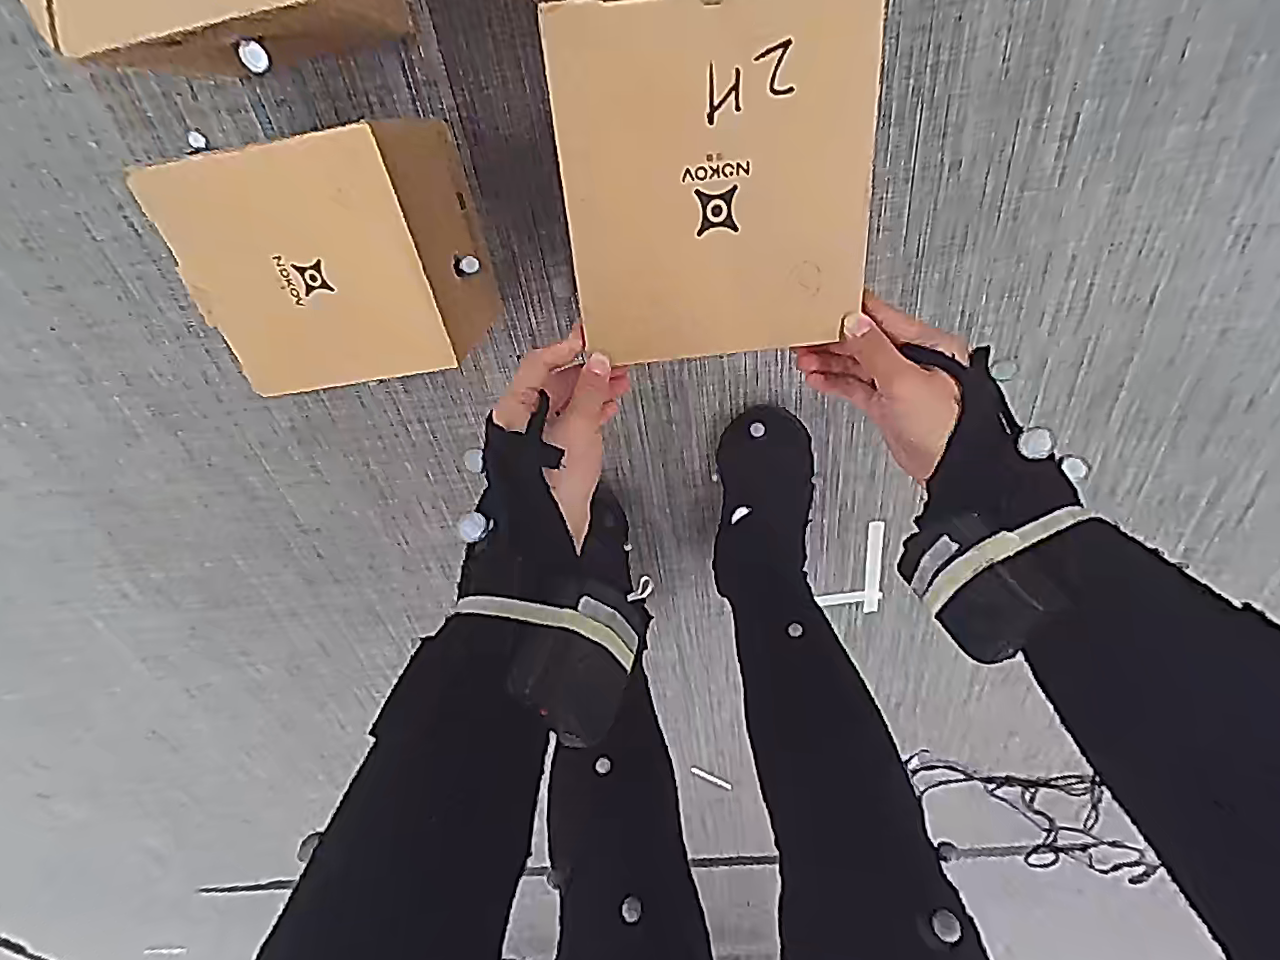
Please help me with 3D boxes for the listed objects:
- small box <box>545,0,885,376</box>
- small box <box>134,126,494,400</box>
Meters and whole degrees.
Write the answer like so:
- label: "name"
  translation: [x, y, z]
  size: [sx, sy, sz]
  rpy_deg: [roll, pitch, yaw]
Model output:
- label: "small box"
  translation: [0.040, -0.183, 0.365]
  size: [0.168, 0.176, 0.179]
  rpy_deg: [-6, 116, 0]
- label: "small box"
  translation: [-0.235, -0.187, 0.455]
  size: [0.179, 0.176, 0.168]
  rpy_deg: [-7, 124, 6]
